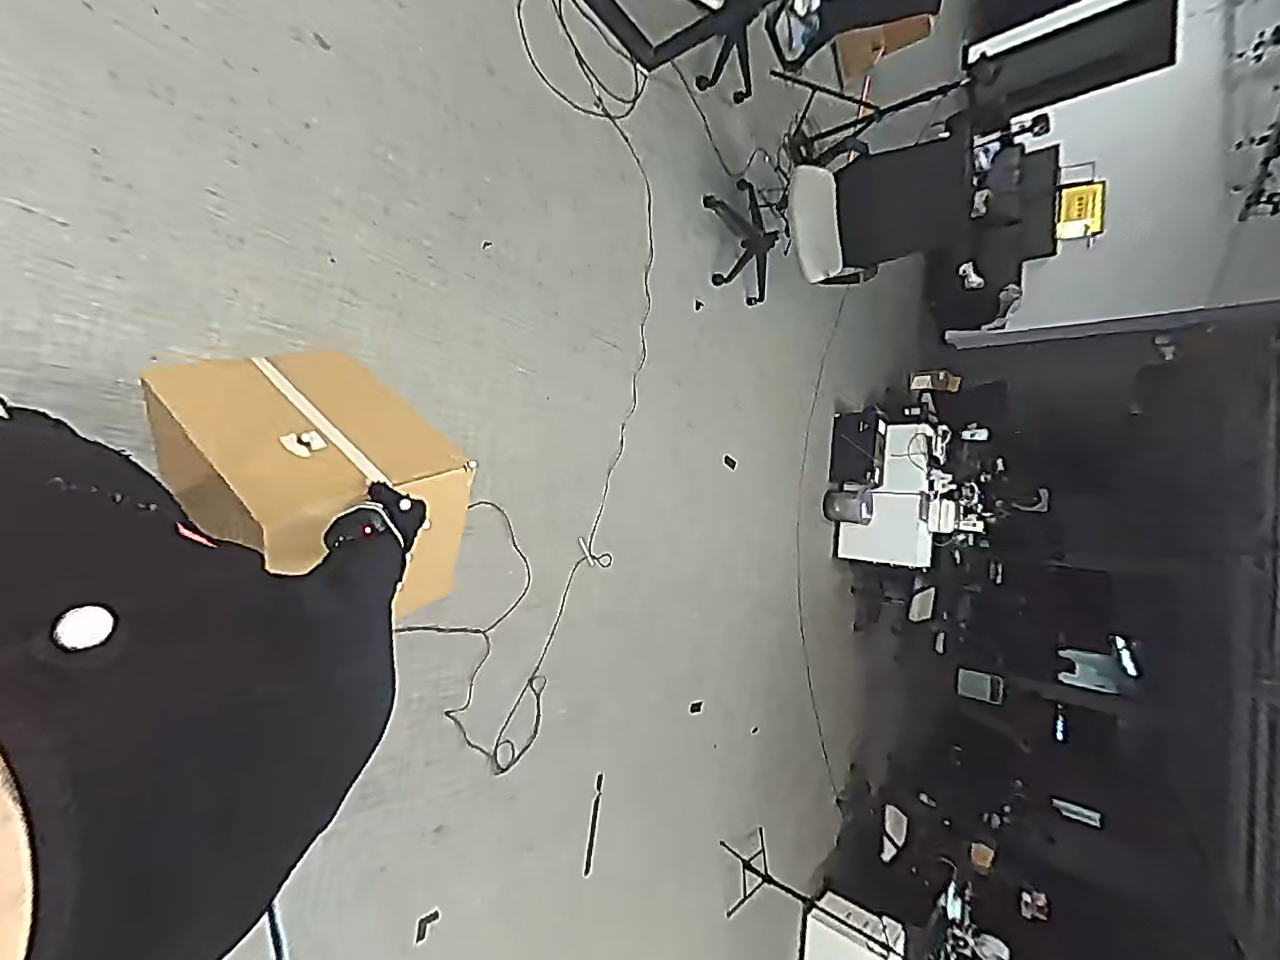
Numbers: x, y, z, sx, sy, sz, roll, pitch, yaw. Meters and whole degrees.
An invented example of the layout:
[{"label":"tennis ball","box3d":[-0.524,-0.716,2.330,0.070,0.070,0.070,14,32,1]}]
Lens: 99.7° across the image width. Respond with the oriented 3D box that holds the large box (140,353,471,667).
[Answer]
[{"label":"large box","box3d":[-0.562,0.022,0.921,0.320,0.408,0.320,-24,144,-49]}]
